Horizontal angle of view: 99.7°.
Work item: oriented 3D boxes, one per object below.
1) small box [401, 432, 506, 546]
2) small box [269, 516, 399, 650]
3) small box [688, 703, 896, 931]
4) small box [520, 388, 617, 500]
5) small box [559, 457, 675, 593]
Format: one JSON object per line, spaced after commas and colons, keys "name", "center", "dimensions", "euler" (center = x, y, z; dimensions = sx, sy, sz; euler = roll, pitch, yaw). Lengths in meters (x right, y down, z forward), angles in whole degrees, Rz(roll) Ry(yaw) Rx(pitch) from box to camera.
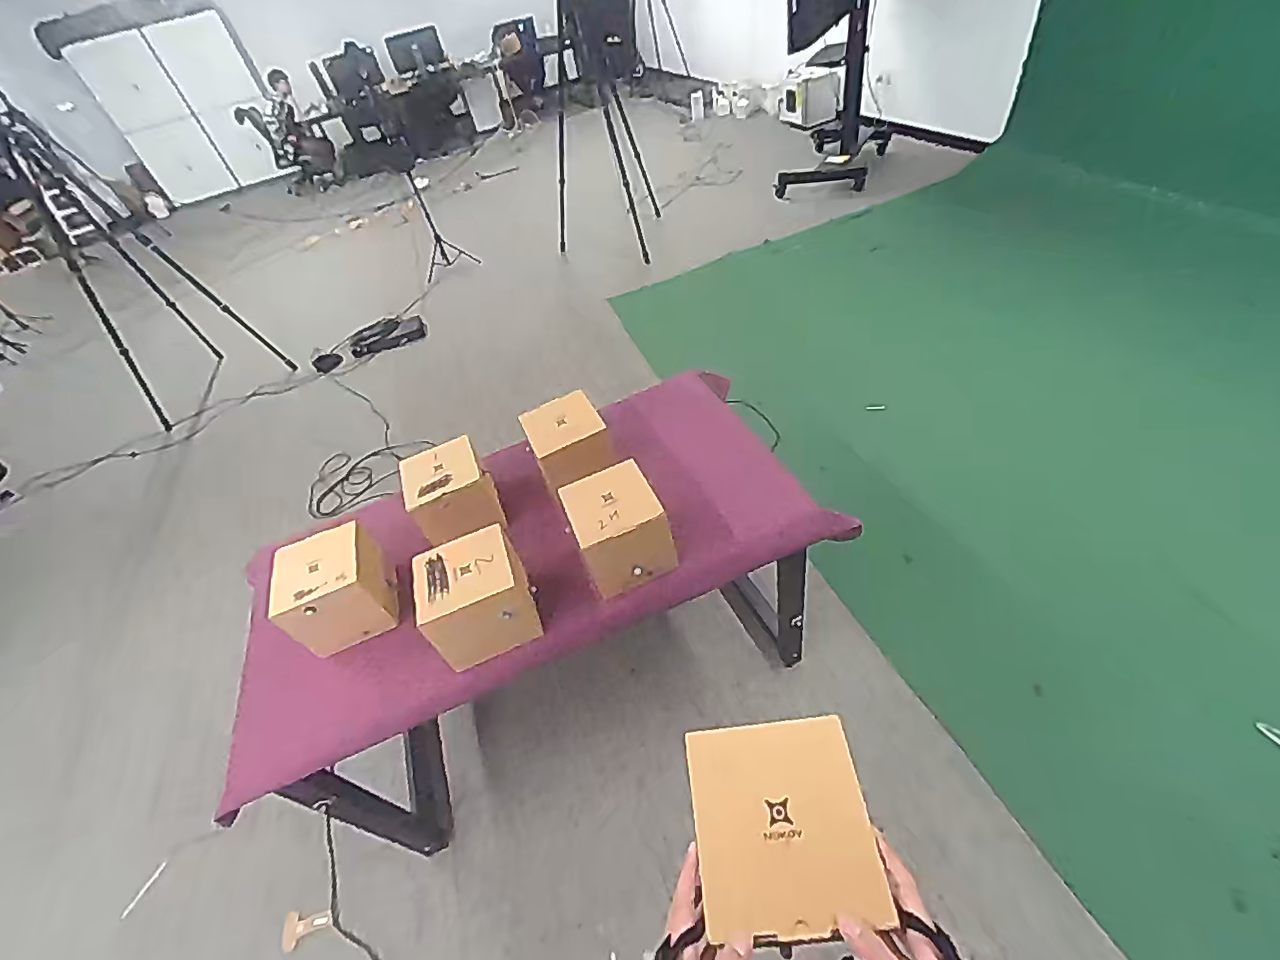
{"name": "small box", "center": [-0.424, 0.028, 1.239], "dimensions": [0.168, 0.176, 0.179], "euler": [-24, 45, -9]}
{"name": "small box", "center": [-0.614, 0.211, 1.106], "dimensions": [0.168, 0.176, 0.179], "euler": [-24, 45, -7]}
{"name": "small box", "center": [0.145, 0.363, 0.580], "dimensions": [0.168, 0.176, 0.179], "euler": [-9, 48, 5]}
{"name": "small box", "center": [-0.164, -0.081, 1.281], "dimensions": [0.168, 0.176, 0.179], "euler": [-25, 47, -9]}
{"name": "small box", "center": [-0.044, 0.091, 1.079], "dimensions": [0.168, 0.176, 0.179], "euler": [-23, 45, -7]}
